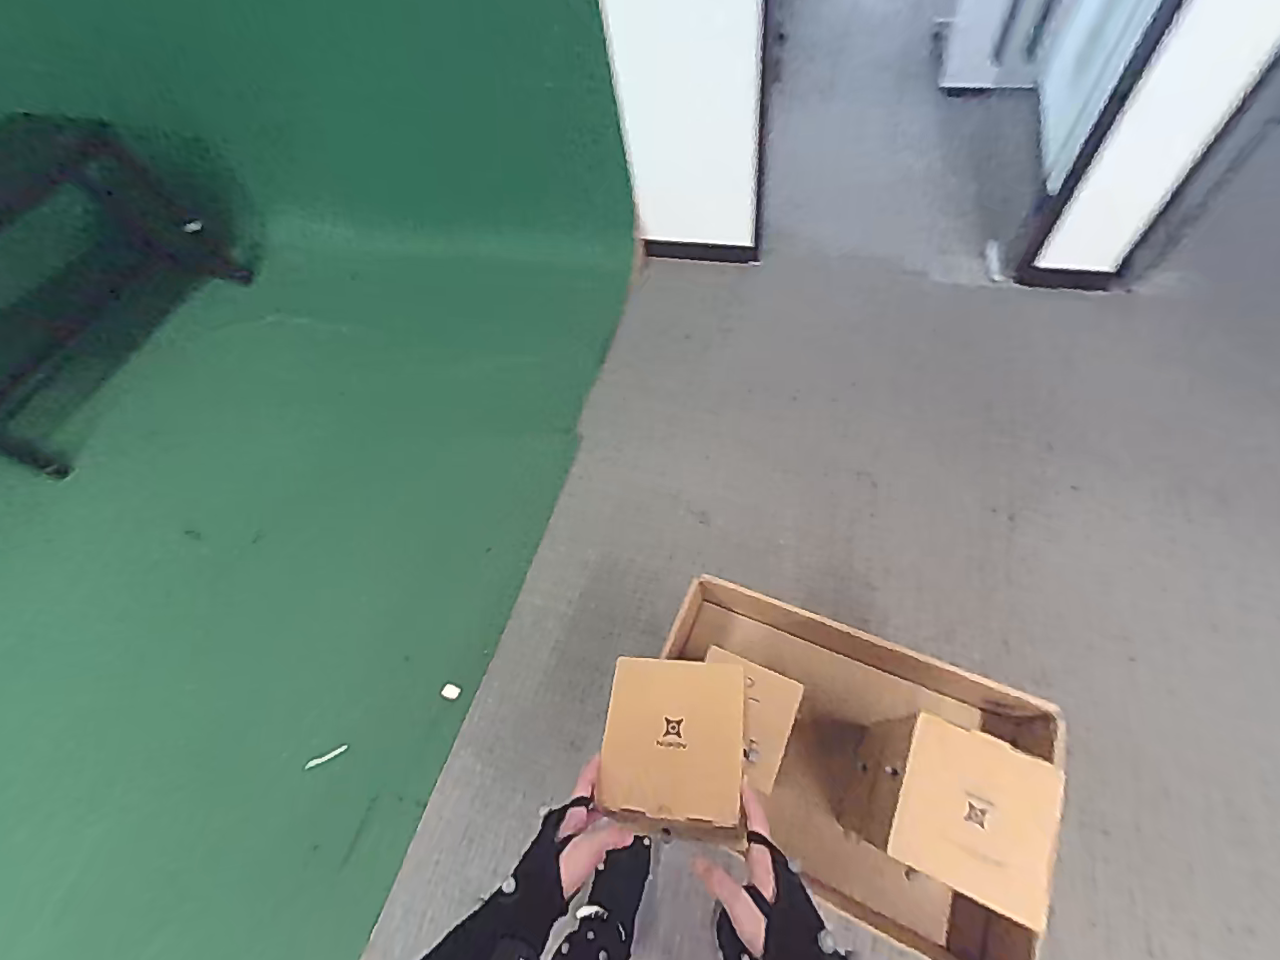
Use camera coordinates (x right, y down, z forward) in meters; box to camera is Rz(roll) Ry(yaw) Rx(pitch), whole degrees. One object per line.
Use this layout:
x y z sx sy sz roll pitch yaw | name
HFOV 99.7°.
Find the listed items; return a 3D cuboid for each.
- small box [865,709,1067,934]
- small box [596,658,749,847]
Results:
0.409 0.427 0.703 0.168 0.176 0.179 20 67 20 | small box
0.053 0.349 0.695 0.168 0.176 0.179 -1 51 12 | small box
